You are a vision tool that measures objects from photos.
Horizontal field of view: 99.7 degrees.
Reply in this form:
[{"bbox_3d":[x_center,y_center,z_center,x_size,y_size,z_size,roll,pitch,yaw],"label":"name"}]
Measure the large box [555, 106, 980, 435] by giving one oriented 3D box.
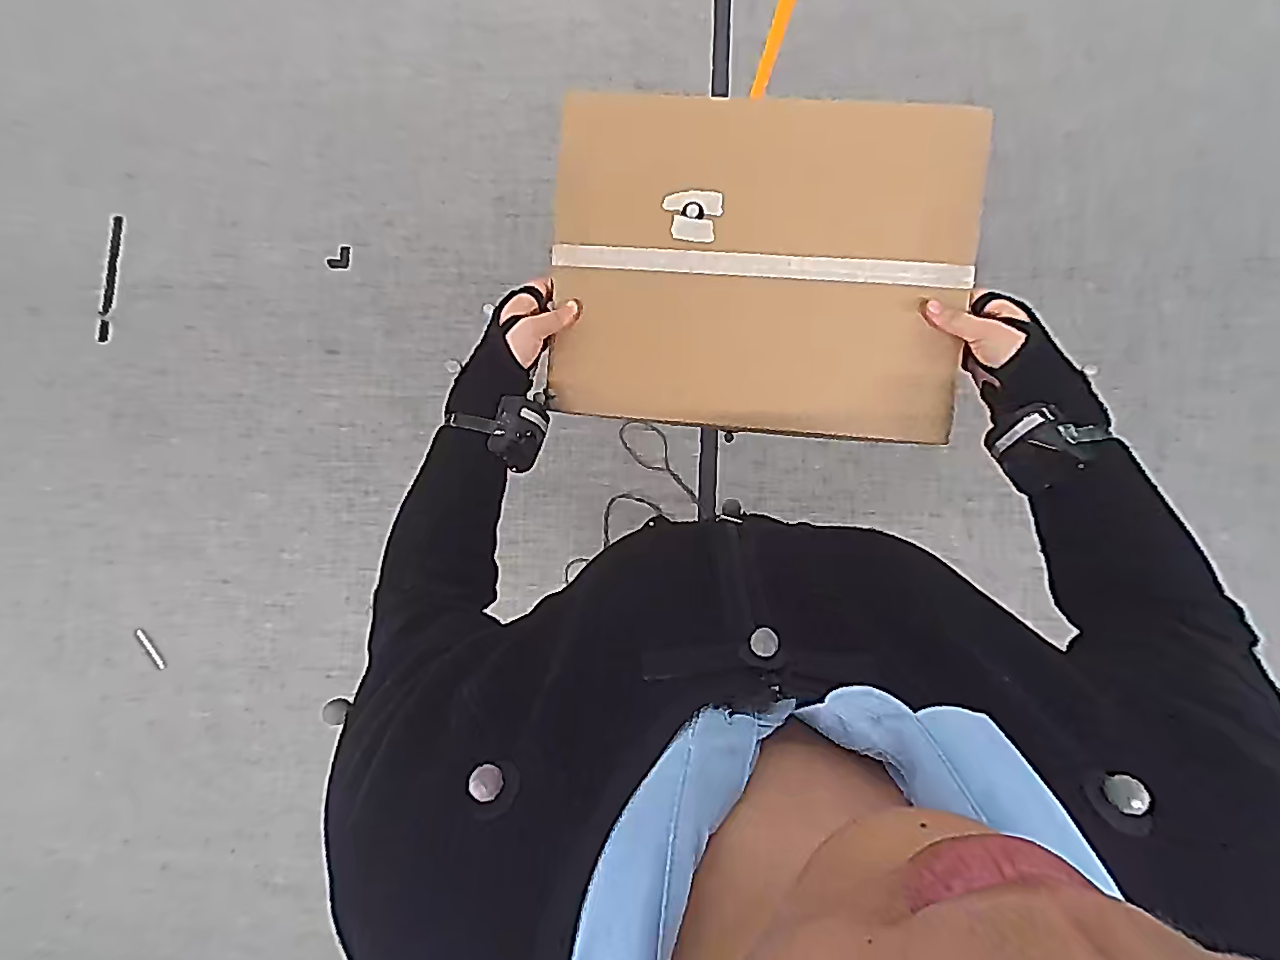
[{"bbox_3d":[0.134,-0.222,0.687,0.408,0.320,0.320,5,94,7],"label":"large box"}]
